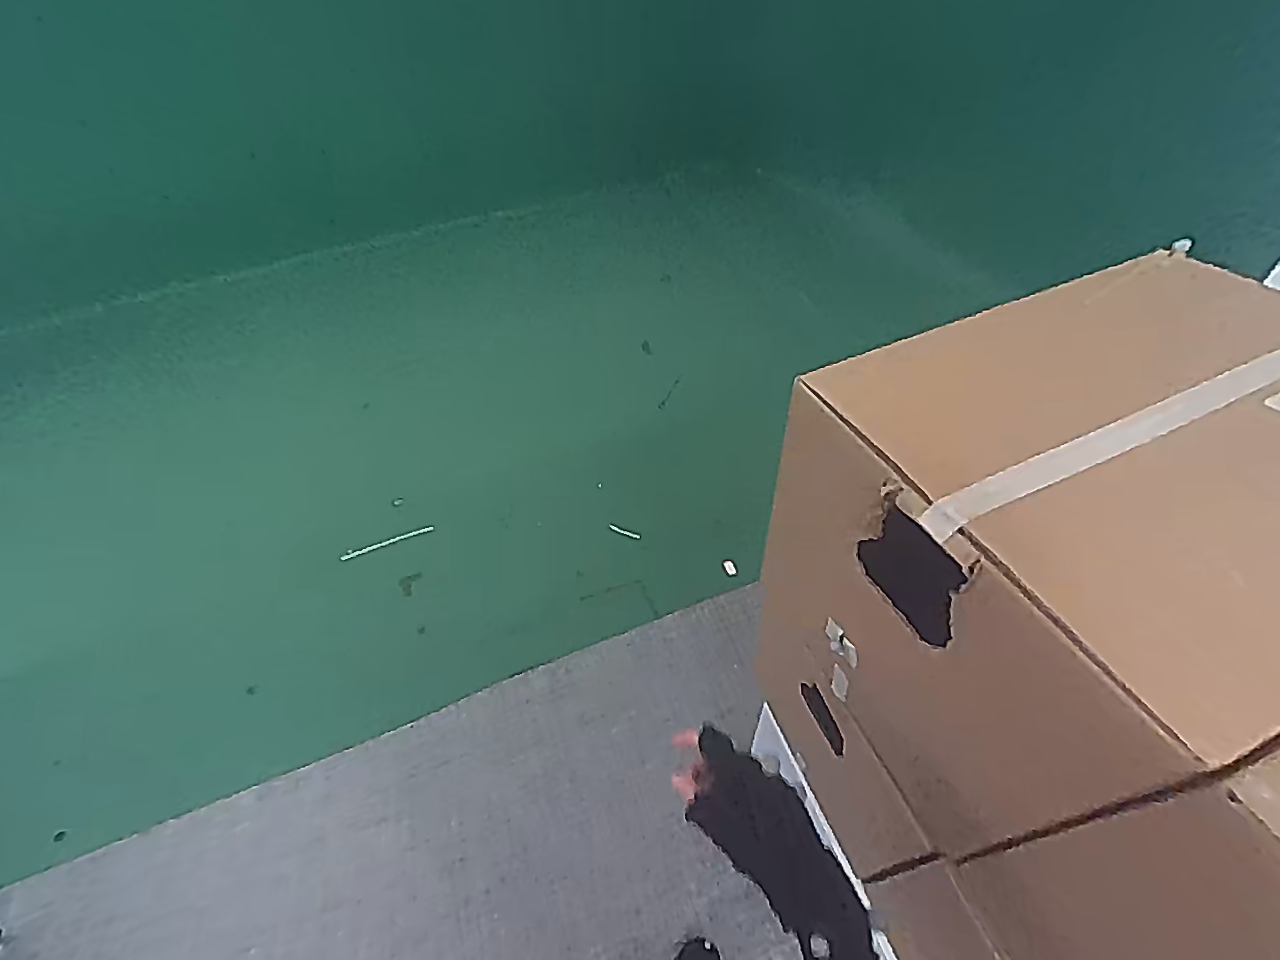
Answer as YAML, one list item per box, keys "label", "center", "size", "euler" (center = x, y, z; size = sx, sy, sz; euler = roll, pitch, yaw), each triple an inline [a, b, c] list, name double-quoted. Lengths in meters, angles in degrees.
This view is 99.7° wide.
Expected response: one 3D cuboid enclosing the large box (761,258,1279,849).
- label: "large box"
  center: [0.371, 0.052, 0.490]
  size: [0.408, 0.320, 0.320]
  euler: [-20, 50, -13]
